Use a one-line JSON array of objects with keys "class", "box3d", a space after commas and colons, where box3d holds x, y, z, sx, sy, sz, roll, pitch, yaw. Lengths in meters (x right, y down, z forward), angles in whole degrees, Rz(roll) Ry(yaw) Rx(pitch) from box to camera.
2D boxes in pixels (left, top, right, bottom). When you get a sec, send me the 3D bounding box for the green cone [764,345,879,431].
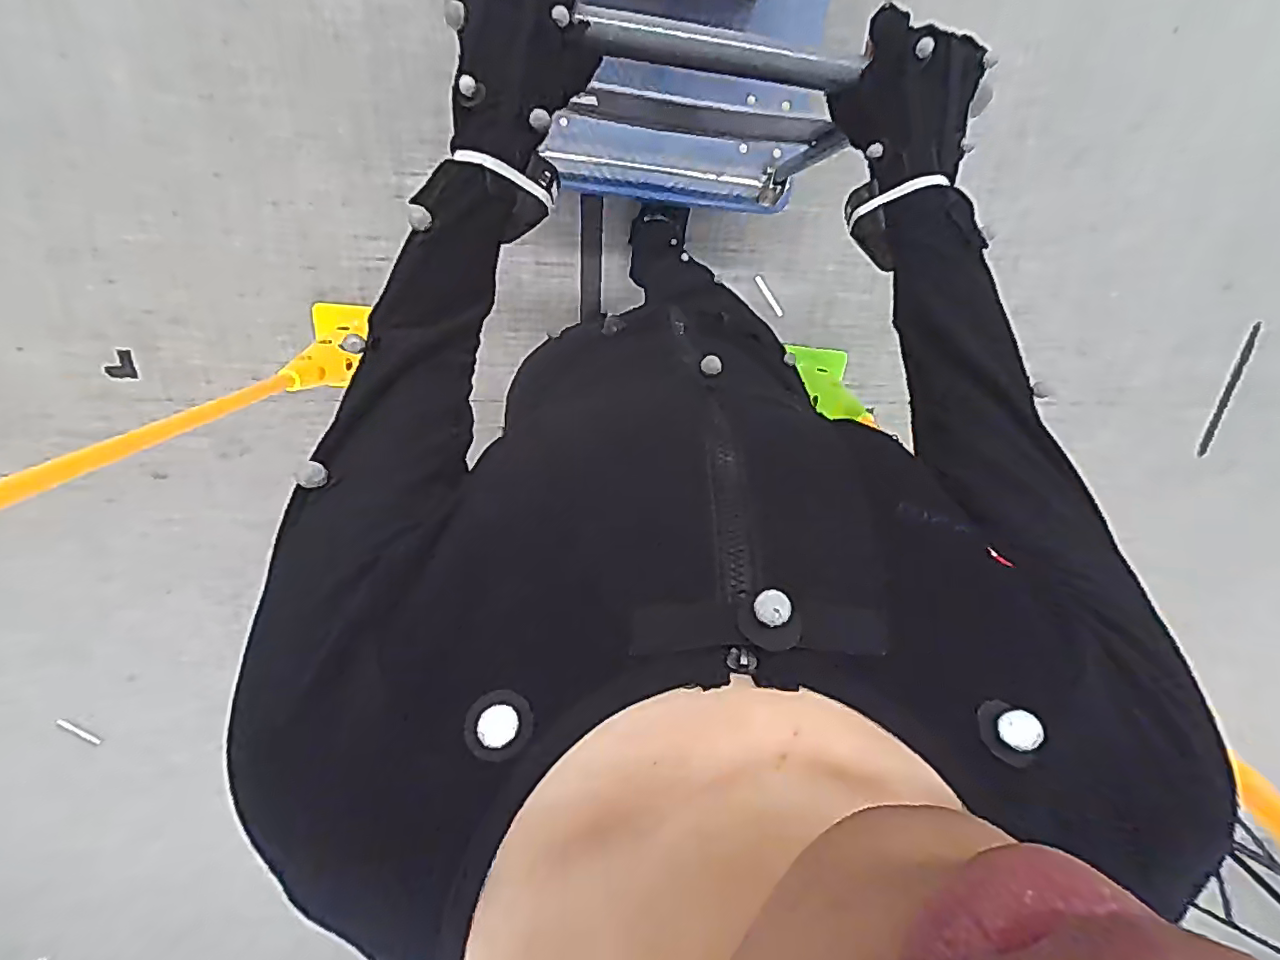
[{"class": "green cone", "box3d": [0.457, -0.187, 1.288, 0.202, 0.368, 0.200, 3, 113, -8]}]
